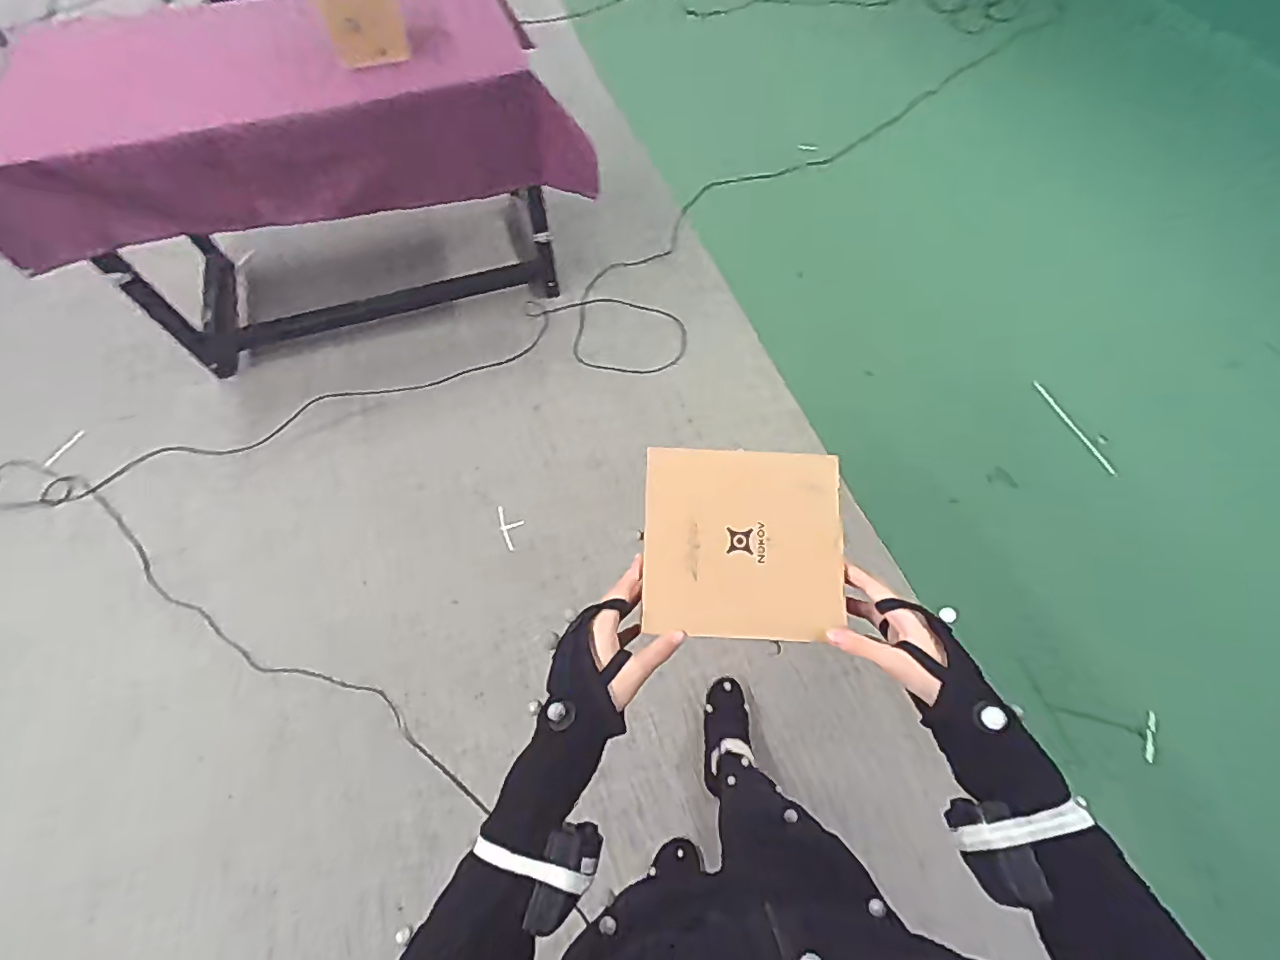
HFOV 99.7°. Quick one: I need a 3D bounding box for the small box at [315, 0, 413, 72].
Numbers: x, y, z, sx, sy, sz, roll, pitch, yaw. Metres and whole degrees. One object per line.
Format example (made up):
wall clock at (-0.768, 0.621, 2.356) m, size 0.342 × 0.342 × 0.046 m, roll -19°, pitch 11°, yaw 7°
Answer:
small box at (-0.666, -1.121, 1.309) m, size 0.168 × 0.176 × 0.179 m, roll -15°, pitch 62°, yaw -8°
